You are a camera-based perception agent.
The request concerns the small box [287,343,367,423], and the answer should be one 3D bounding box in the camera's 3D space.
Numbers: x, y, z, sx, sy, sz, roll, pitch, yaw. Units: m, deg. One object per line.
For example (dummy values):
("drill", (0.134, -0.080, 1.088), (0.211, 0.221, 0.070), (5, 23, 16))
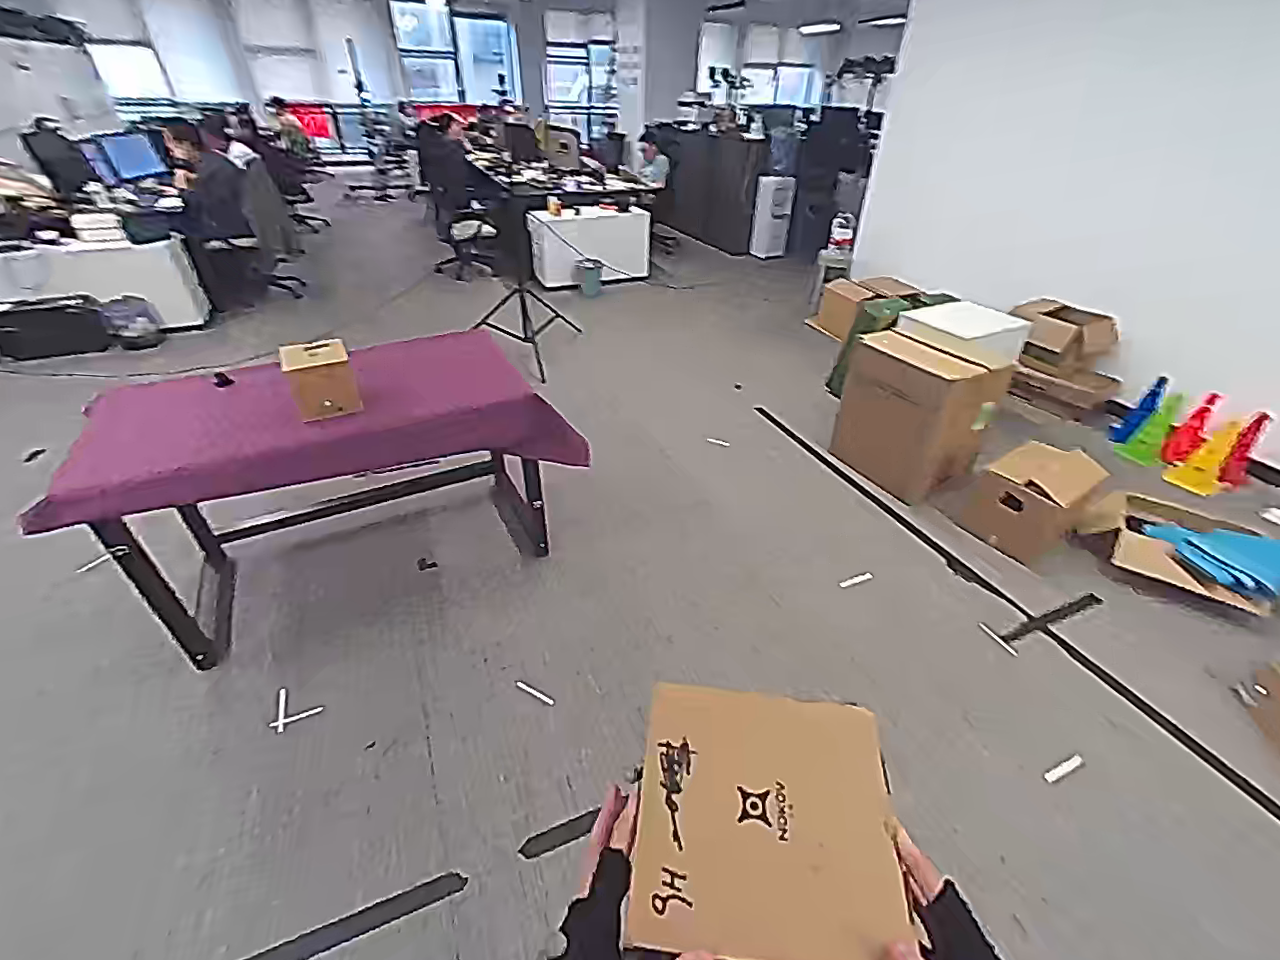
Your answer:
("small box", (-0.935, -0.291, 1.618), (0.168, 0.176, 0.179), (-18, 41, -24))
